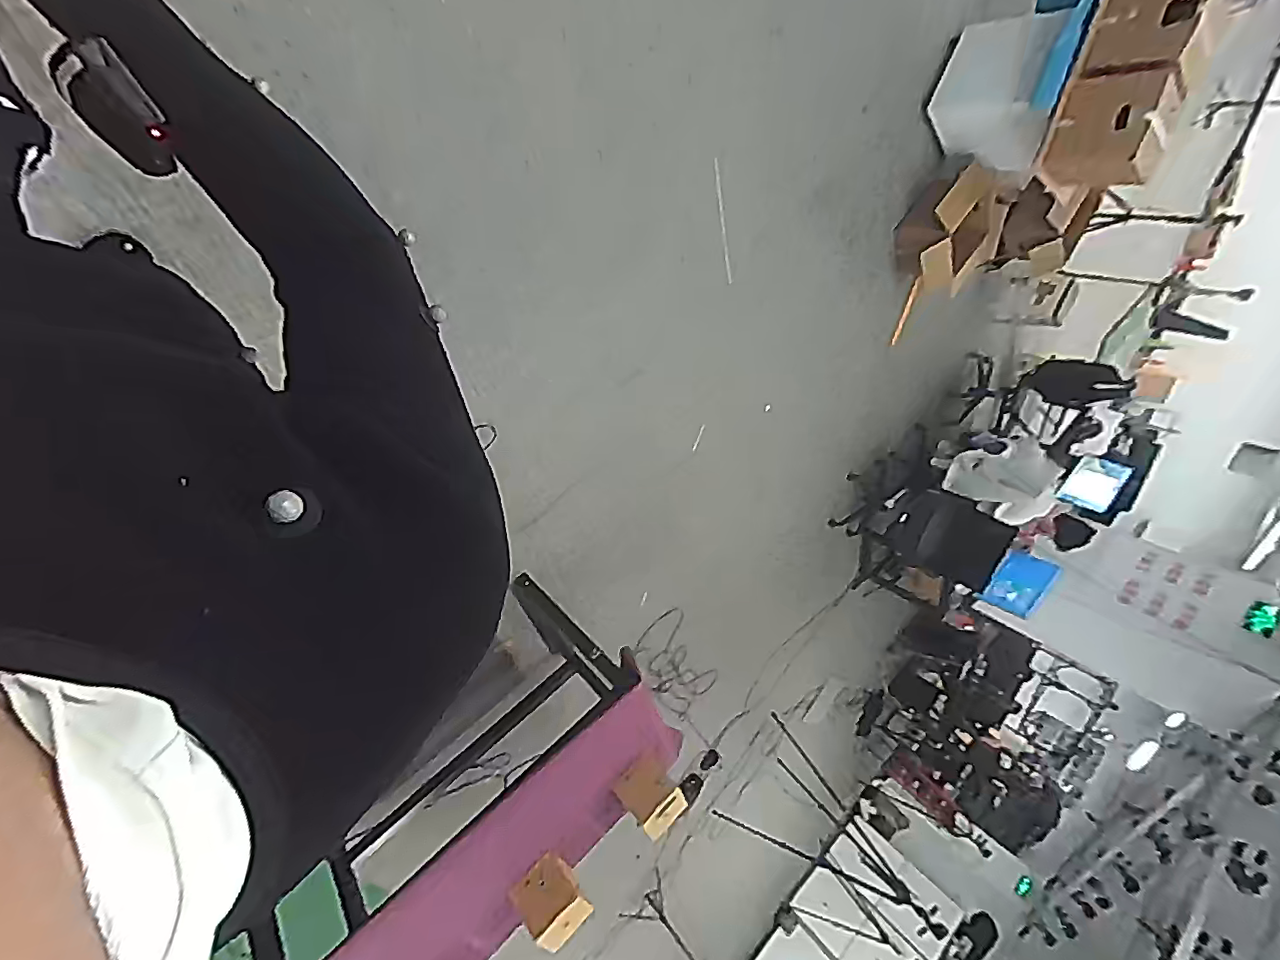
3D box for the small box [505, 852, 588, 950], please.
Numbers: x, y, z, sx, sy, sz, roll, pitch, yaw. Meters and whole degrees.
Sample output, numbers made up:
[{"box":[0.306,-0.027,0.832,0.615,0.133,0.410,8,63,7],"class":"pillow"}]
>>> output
[{"box":[-0.297,1.325,1.709,0.168,0.176,0.179,-38,134,-23],"class":"small box"}]
